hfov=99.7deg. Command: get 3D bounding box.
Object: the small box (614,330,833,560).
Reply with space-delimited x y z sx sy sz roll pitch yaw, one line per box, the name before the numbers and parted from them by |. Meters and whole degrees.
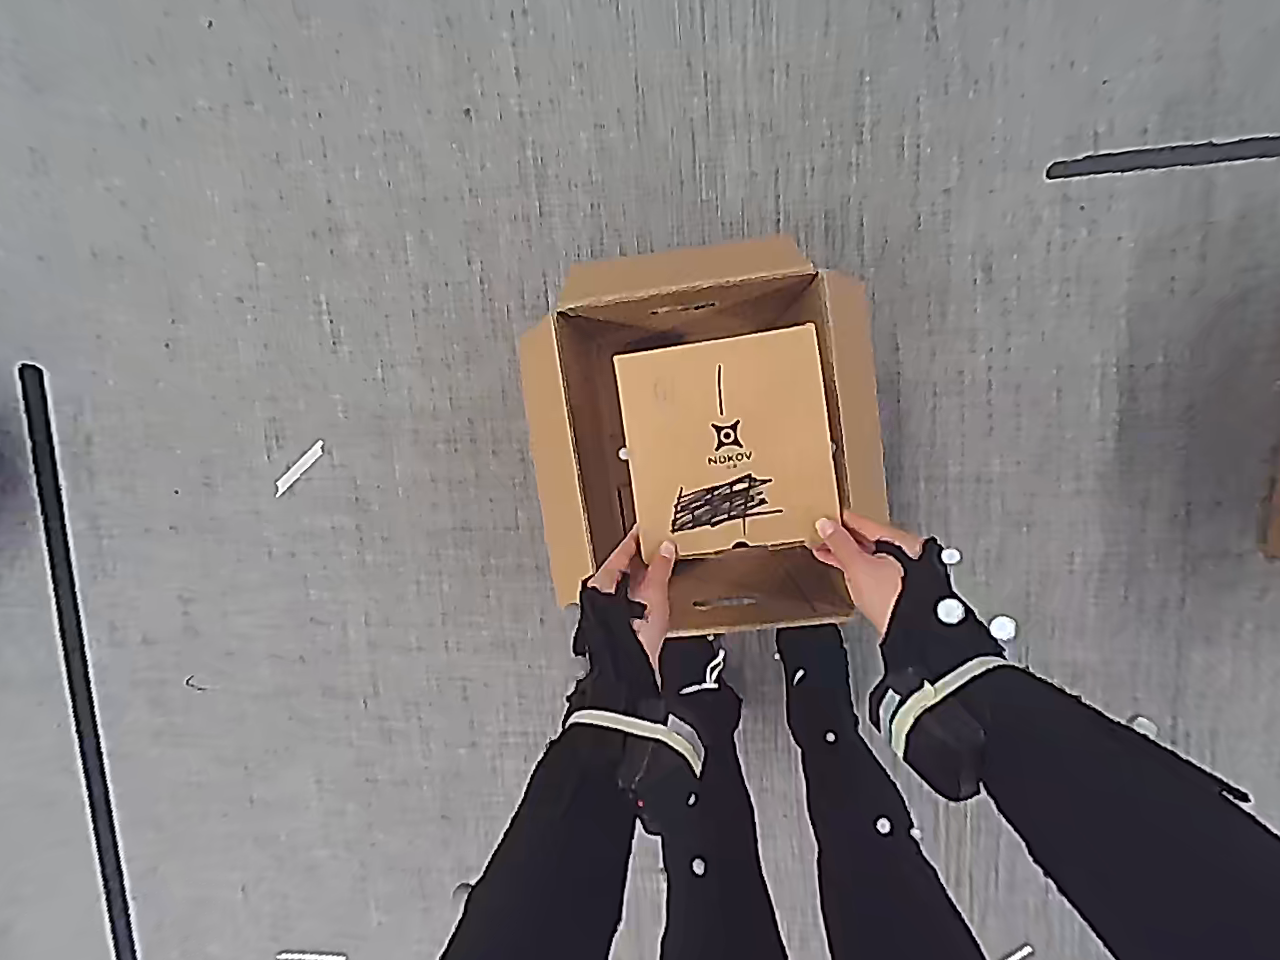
small box | 0.076 -0.030 0.528 0.168 0.176 0.179 -8 90 5
